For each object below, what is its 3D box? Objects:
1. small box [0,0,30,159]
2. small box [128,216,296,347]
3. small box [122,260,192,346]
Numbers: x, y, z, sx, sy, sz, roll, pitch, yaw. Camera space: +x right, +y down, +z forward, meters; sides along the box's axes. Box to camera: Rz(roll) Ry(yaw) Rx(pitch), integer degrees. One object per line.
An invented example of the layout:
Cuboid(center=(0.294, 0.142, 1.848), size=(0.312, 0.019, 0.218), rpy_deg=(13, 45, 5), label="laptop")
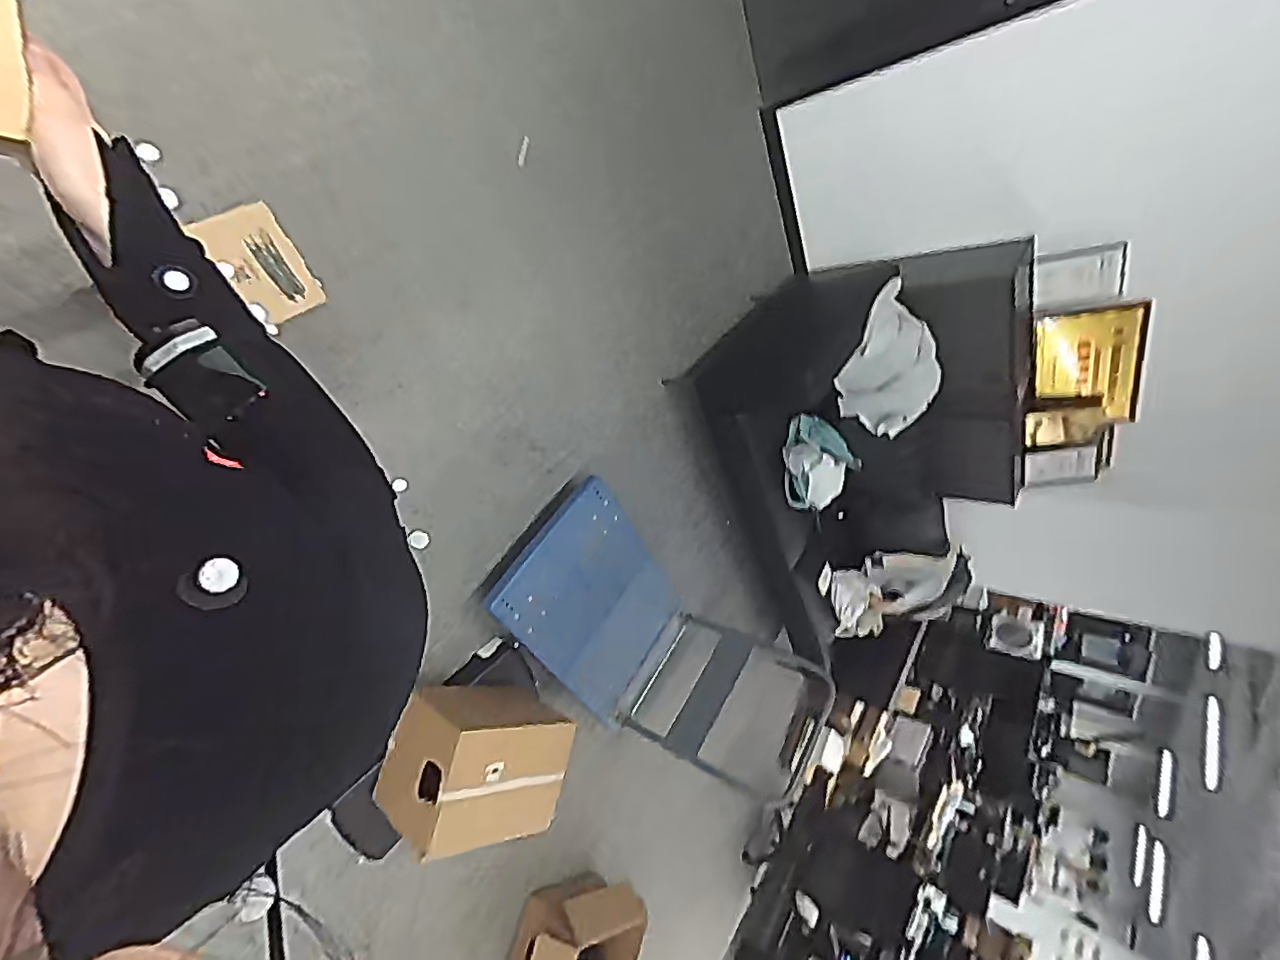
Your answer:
Cuboid(center=(-0.464, -0.293, 0.290), size=(0.168, 0.176, 0.179), rpy_deg=(-10, 114, -46), label="small box")
Cuboid(center=(-0.794, -0.360, 1.003), size=(0.168, 0.176, 0.179), rpy_deg=(-45, 129, -32), label="small box")
Cuboid(center=(-0.913, -0.387, 1.114), size=(0.179, 0.176, 0.168), rpy_deg=(-46, 129, -33), label="small box")
